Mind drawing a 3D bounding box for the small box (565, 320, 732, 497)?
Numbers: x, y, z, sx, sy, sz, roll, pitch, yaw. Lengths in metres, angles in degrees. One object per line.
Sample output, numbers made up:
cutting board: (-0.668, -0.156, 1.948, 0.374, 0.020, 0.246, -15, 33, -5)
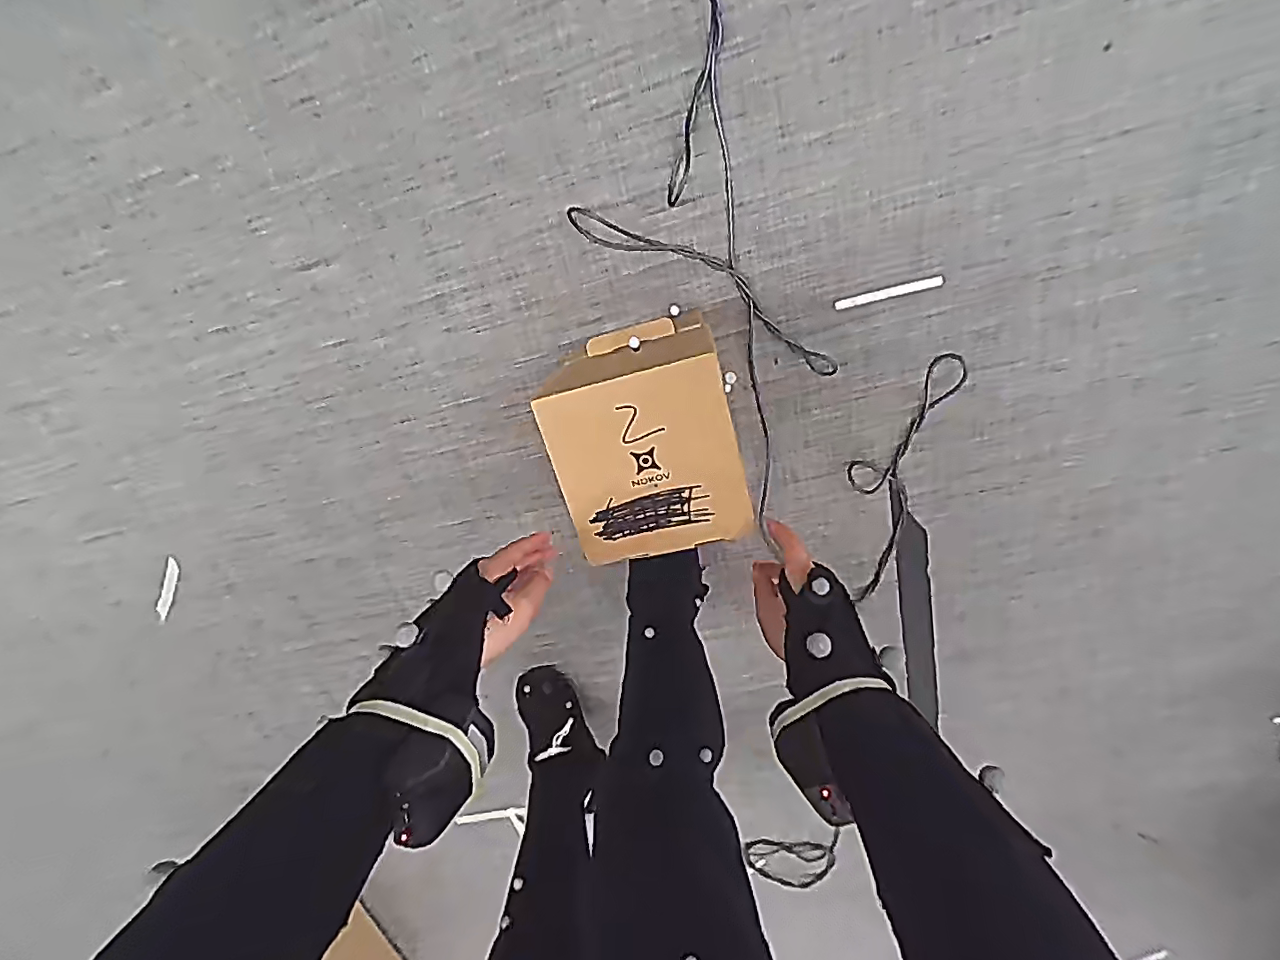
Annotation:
small box: (0.017, -0.104, 0.713, 0.168, 0.176, 0.179, -14, 112, 10)
